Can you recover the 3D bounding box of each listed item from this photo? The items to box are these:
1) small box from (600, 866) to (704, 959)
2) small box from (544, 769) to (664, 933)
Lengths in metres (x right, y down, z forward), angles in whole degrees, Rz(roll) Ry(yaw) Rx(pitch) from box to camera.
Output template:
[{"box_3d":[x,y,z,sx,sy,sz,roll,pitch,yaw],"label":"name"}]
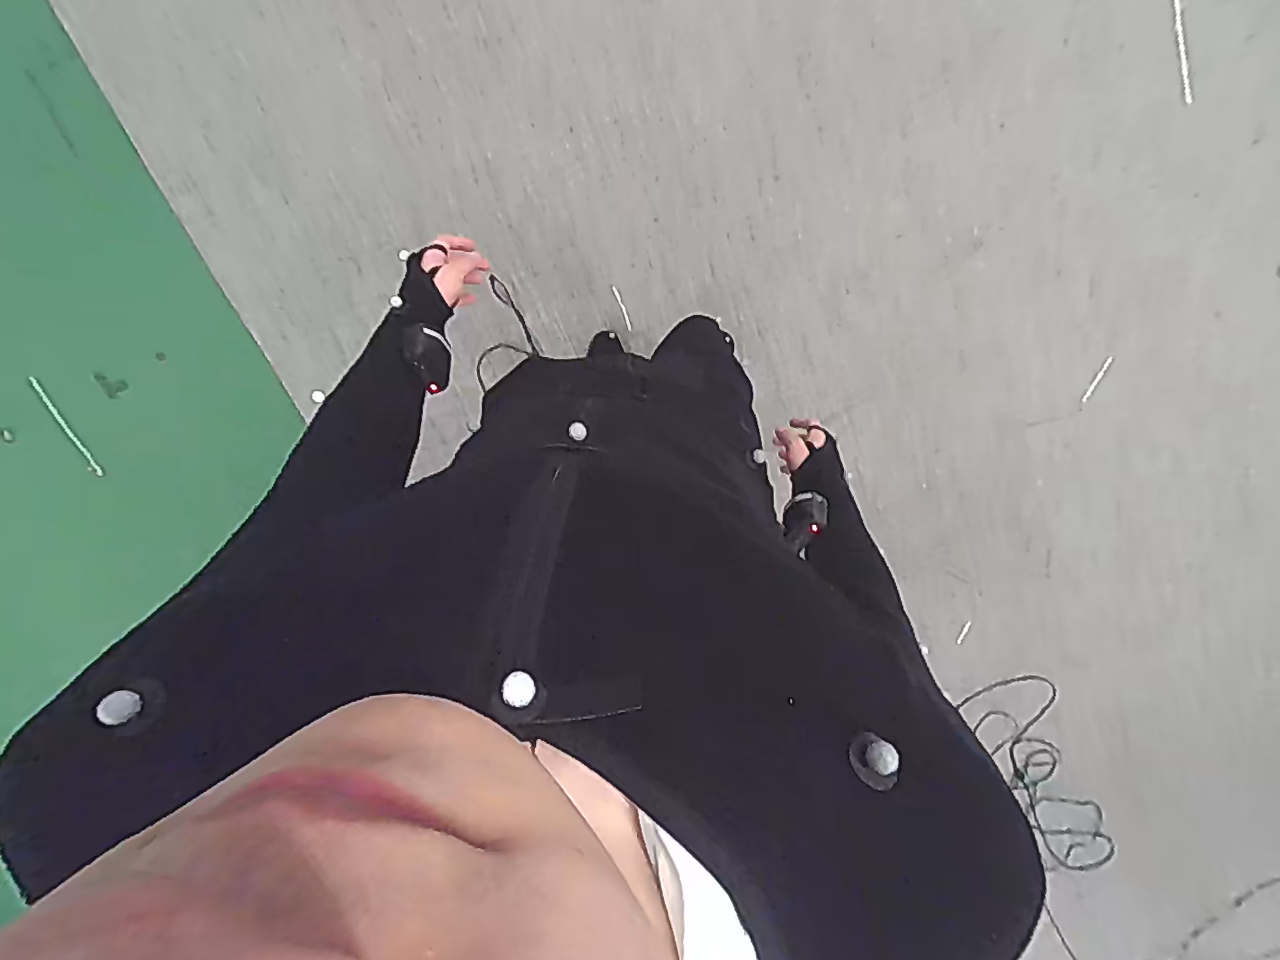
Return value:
[{"box_3d":[0.031,0.936,1.096,0.168,0.176,0.179,-20,105,6],"label":"small box"},{"box_3d":[-0.060,0.689,1.016,0.168,0.176,0.179,-20,107,5],"label":"small box"}]
